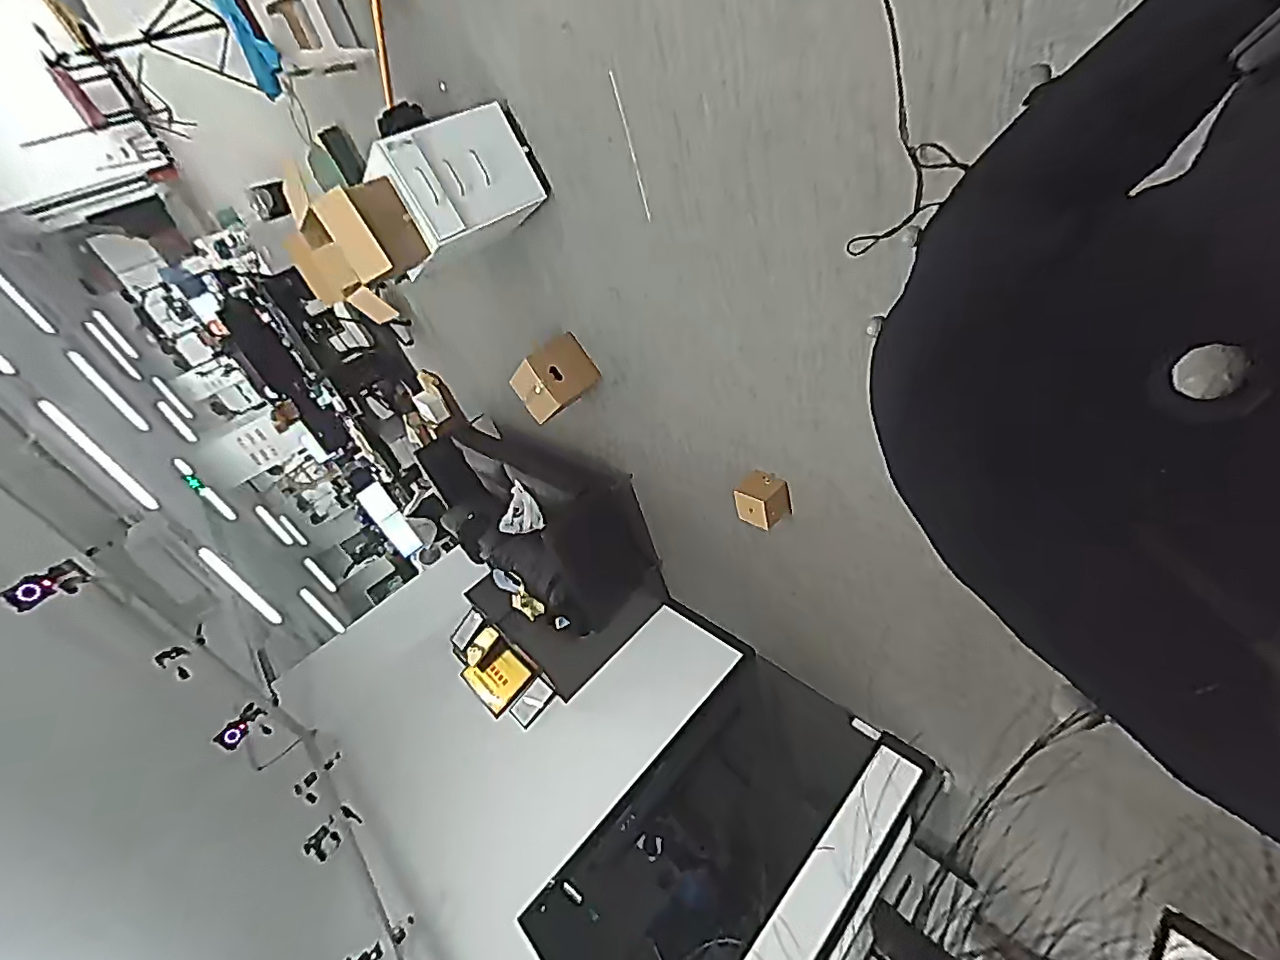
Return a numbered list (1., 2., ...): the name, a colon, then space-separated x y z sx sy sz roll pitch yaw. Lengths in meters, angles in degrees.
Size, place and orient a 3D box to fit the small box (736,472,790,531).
1. small box: 0.566 0.094 2.461 0.168 0.176 0.179 22 143 43
